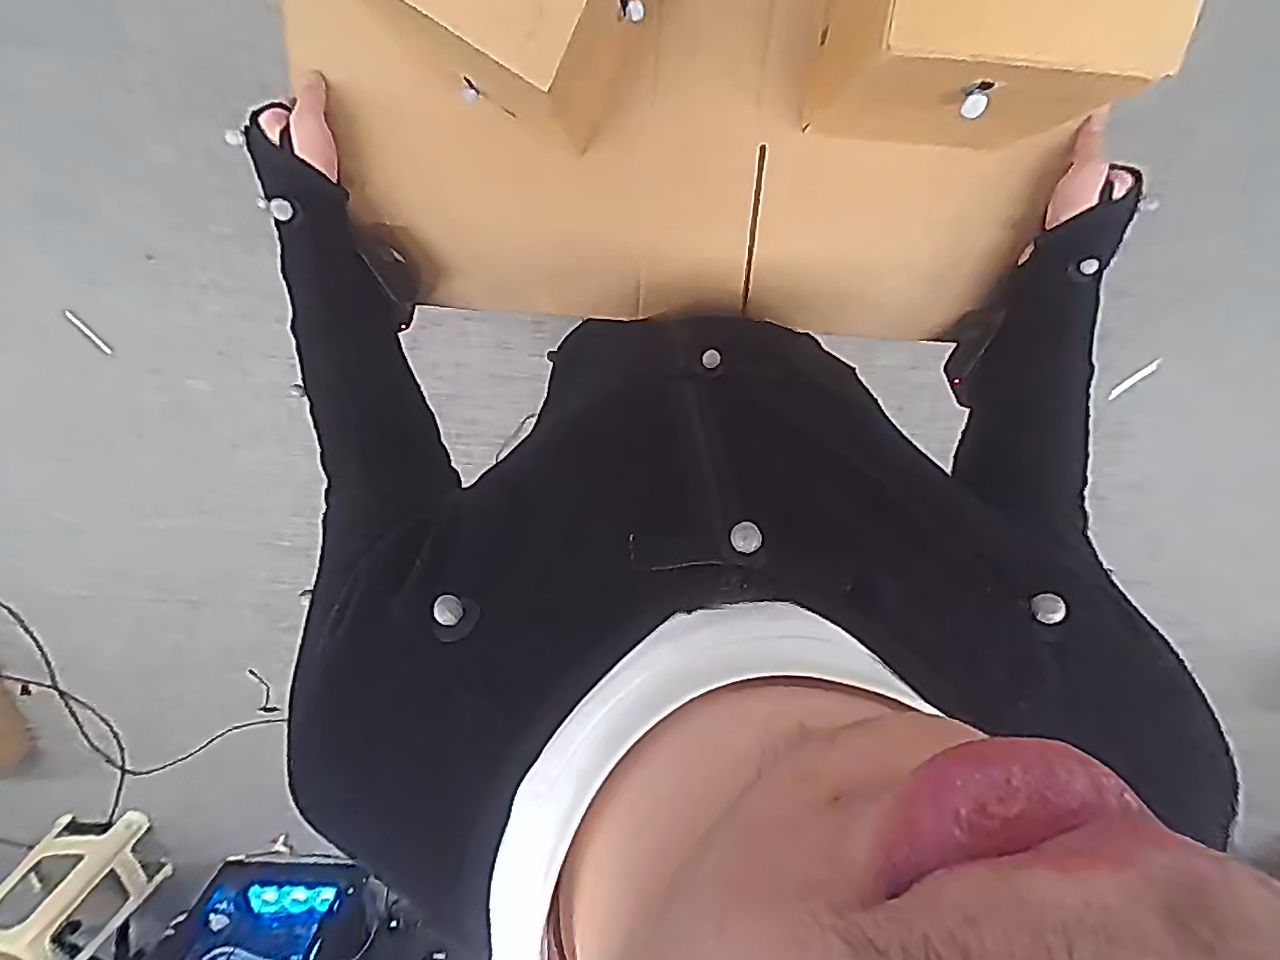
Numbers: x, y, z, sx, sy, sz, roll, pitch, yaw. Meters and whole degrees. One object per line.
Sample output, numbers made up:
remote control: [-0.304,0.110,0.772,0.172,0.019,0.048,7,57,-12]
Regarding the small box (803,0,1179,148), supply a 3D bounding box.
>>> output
small box: [0.236,-0.351,0.381,0.179,0.176,0.168,5,109,-1]
